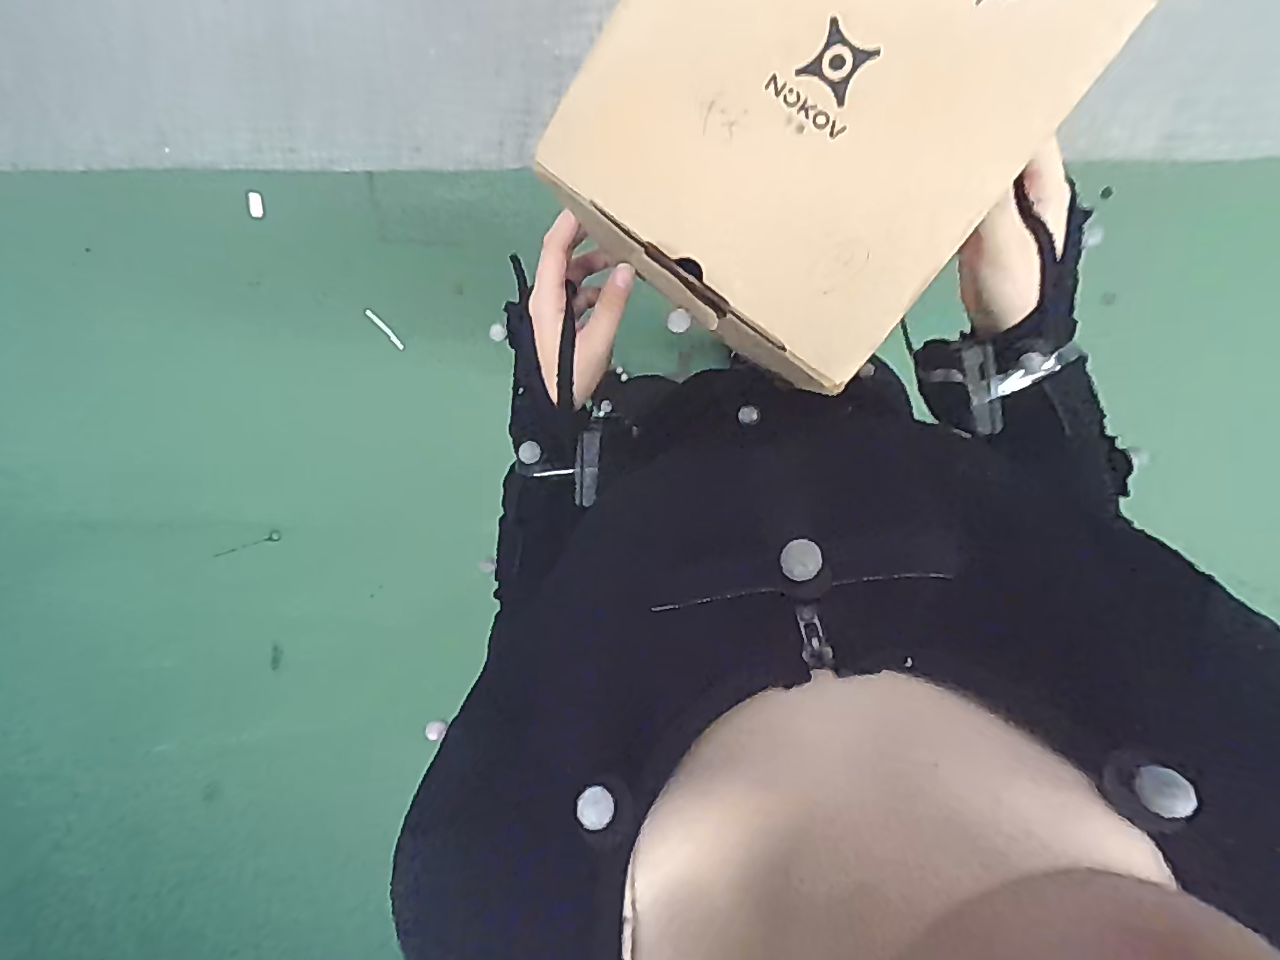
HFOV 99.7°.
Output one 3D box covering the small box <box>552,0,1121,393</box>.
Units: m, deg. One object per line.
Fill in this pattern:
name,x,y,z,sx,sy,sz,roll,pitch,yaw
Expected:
small box,0.083,-0.168,0.304,0.168,0.176,0.179,36,103,-1
